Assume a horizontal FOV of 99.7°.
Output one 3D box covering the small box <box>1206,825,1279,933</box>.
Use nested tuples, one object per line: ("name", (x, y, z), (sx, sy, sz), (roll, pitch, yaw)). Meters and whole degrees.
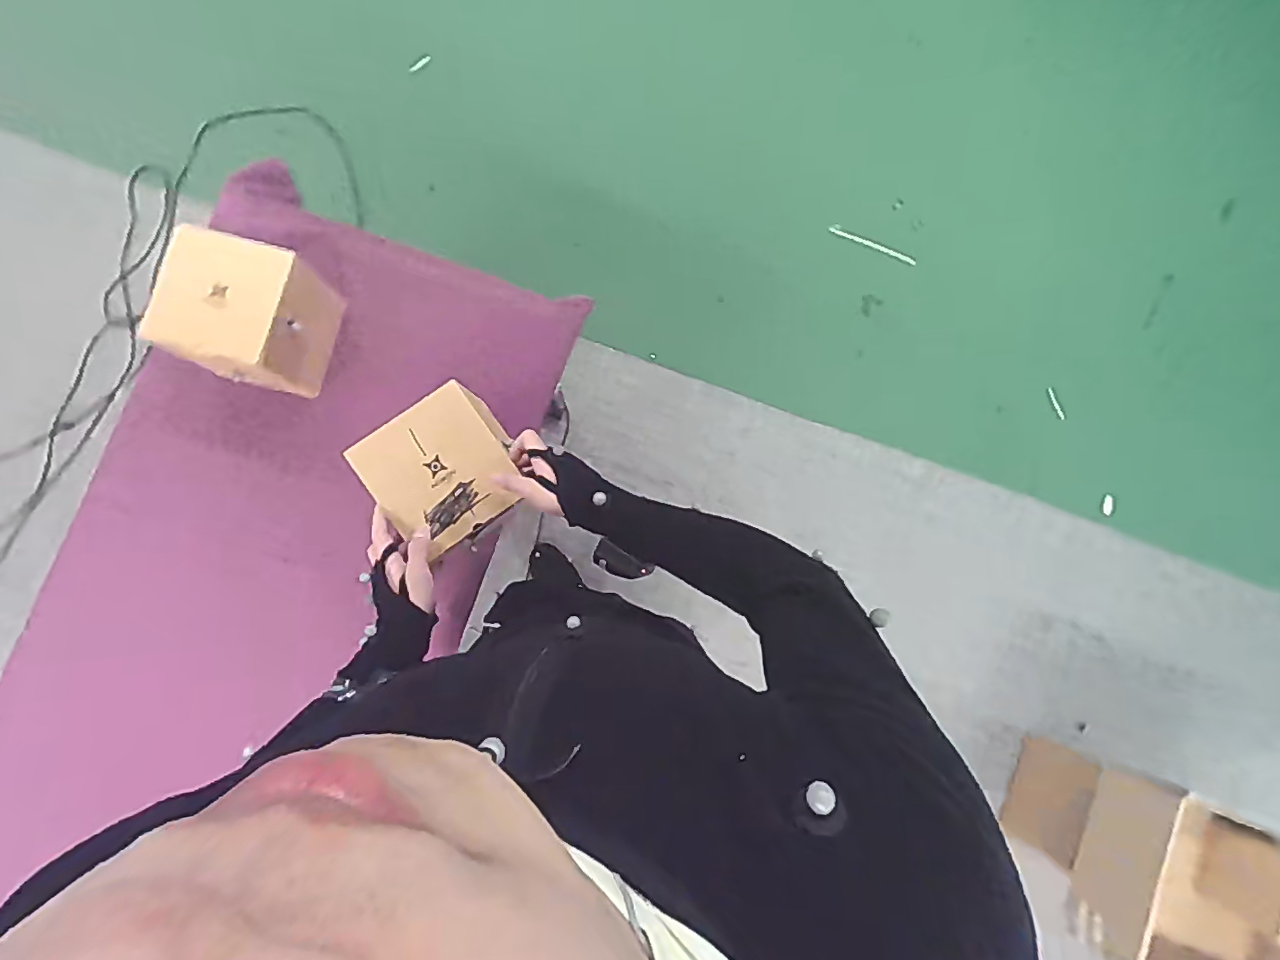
("small box", (1.403, 0.890, 1.170), (0.179, 0.176, 0.168), (24, 84, -1))

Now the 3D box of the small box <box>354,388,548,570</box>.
("small box", (-0.244, -0.002, 0.751), (0.168, 0.176, 0.179), (-33, 90, -3))

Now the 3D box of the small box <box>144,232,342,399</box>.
("small box", (-0.595, -0.243, 0.840), (0.168, 0.176, 0.179), (13, 84, -3))
